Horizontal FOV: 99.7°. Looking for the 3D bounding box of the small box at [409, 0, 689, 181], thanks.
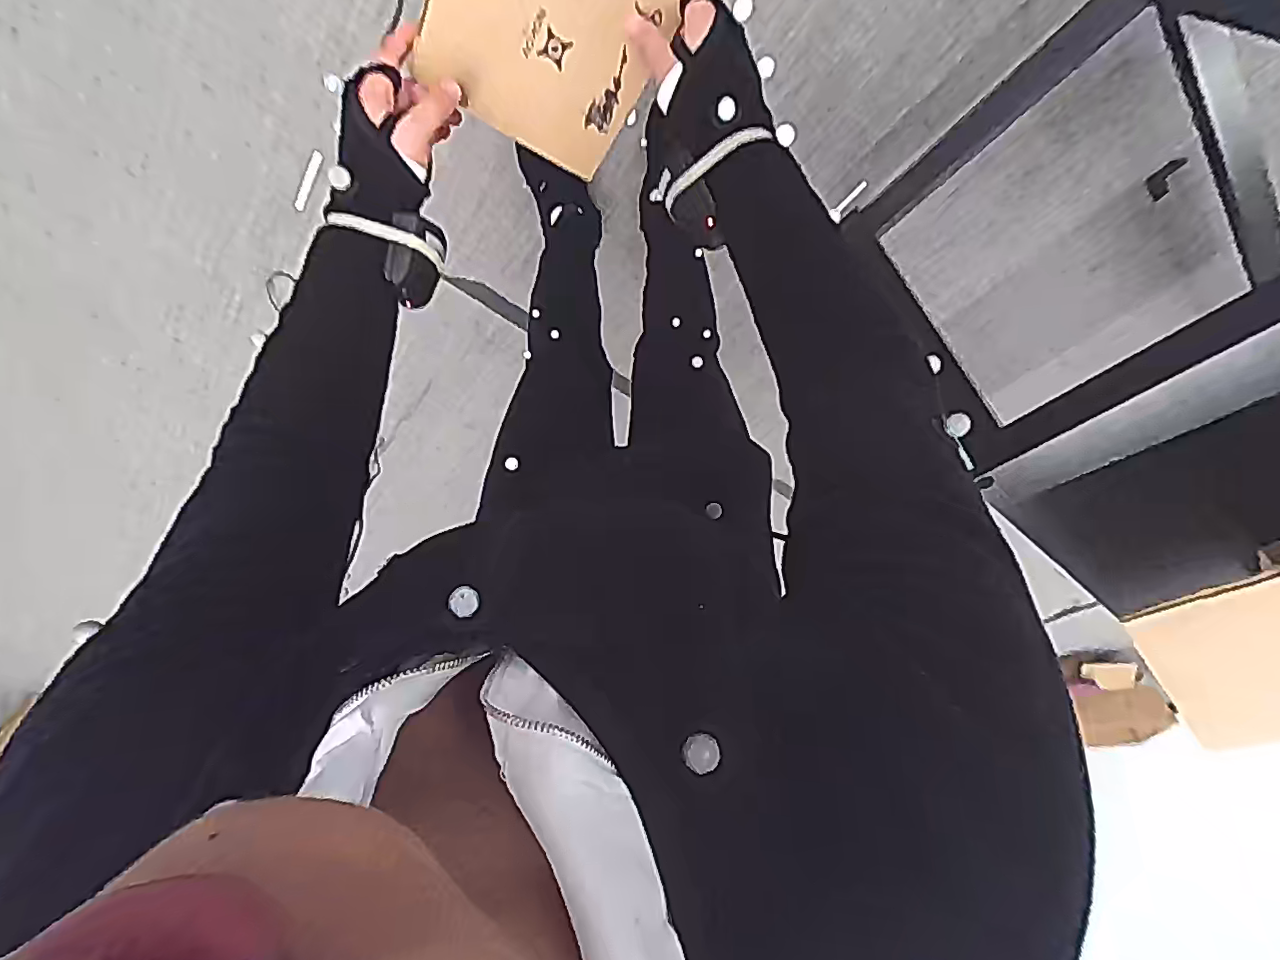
[{"bbox_3d":[-0.081,-0.421,0.481,0.179,0.176,0.168,18,141,-30],"label":"small box"}]
